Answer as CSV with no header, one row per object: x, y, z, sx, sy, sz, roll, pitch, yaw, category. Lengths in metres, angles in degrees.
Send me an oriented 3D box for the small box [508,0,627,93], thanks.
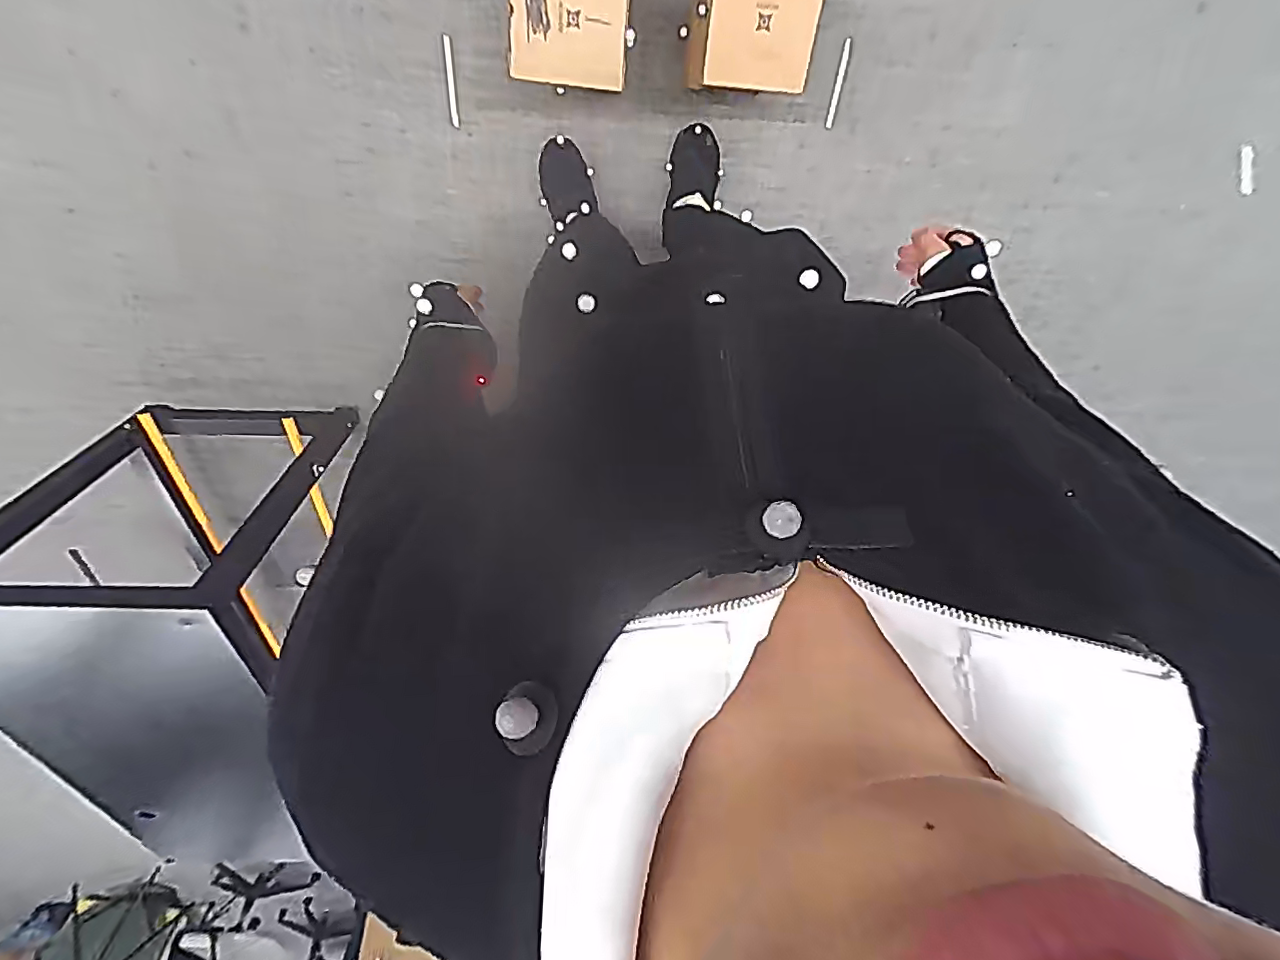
-0.113,-0.735,0.869,0.179,0.176,0.168,4,127,-7,small box

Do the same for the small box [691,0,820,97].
0.181,-0.744,0.882,0.168,0.176,0.179,2,129,-4,small box

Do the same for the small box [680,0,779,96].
0.177,-0.834,1.019,0.179,0.176,0.168,0,127,-4,small box
